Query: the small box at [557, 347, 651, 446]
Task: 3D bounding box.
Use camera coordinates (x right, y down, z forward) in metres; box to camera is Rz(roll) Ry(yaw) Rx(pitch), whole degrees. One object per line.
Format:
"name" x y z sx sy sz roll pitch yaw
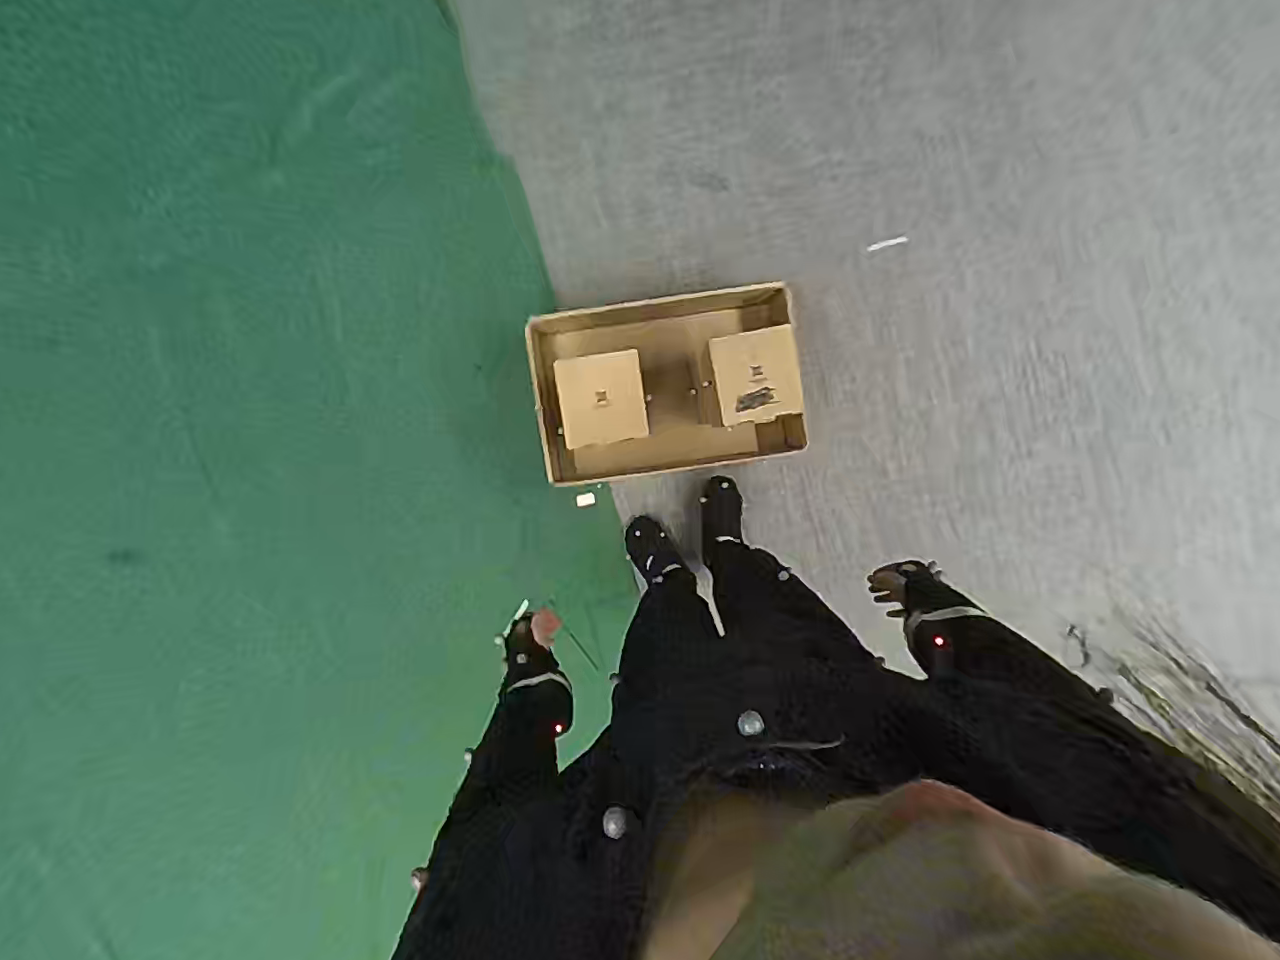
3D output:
"small box" -0.073 -0.169 1.137 0.168 0.176 0.179 -9 95 0

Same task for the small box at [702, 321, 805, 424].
"small box" 0.231 -0.216 1.131 0.168 0.176 0.179 -11 93 1
